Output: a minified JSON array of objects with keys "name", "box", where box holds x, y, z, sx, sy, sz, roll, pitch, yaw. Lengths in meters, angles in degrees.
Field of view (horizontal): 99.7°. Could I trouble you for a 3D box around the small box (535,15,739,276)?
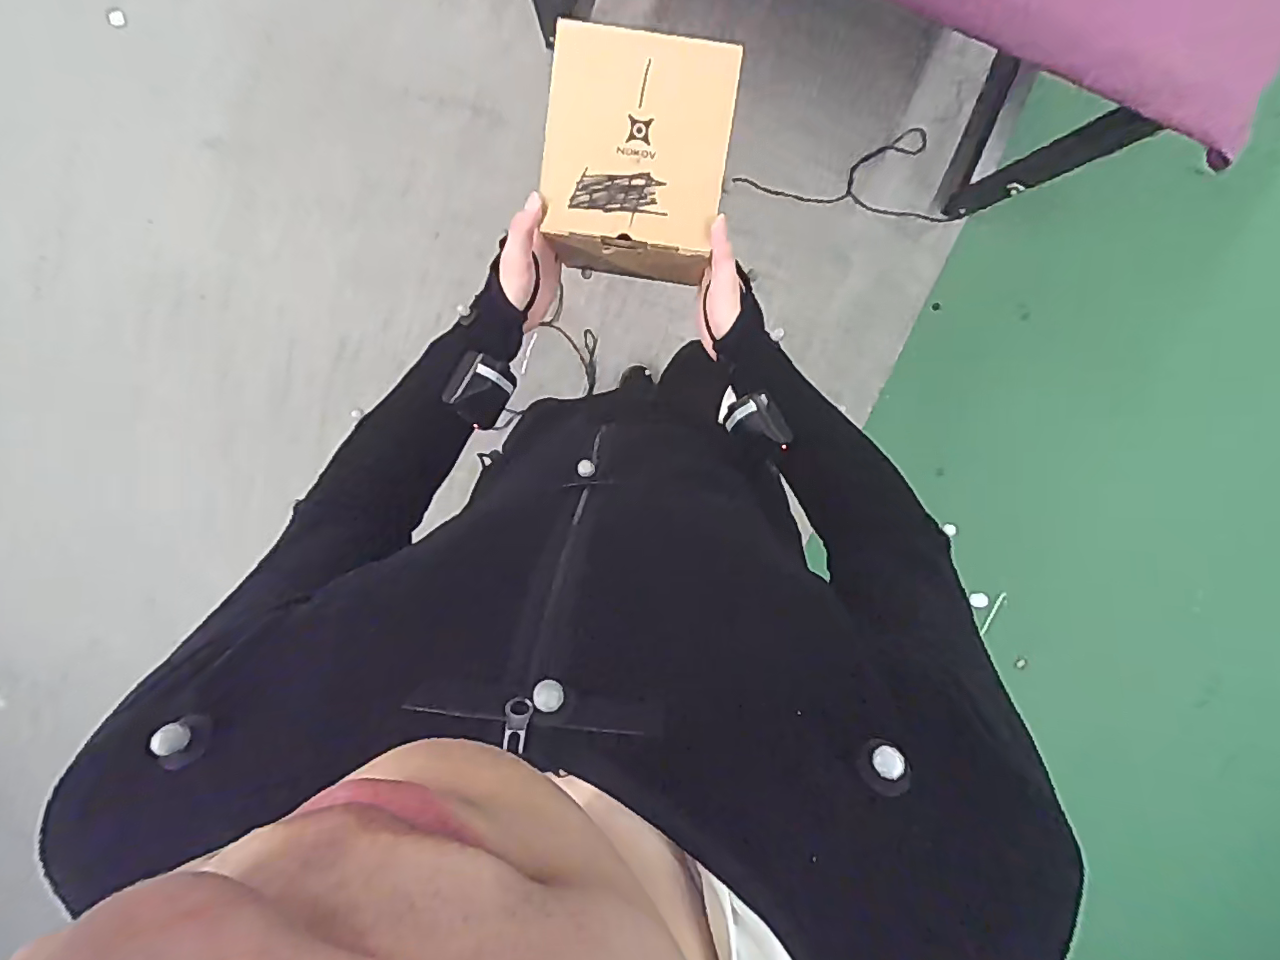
[{"name":"small box","box":[-0.003,-0.321,0.559,0.168,0.176,0.179,7,100,0]}]
